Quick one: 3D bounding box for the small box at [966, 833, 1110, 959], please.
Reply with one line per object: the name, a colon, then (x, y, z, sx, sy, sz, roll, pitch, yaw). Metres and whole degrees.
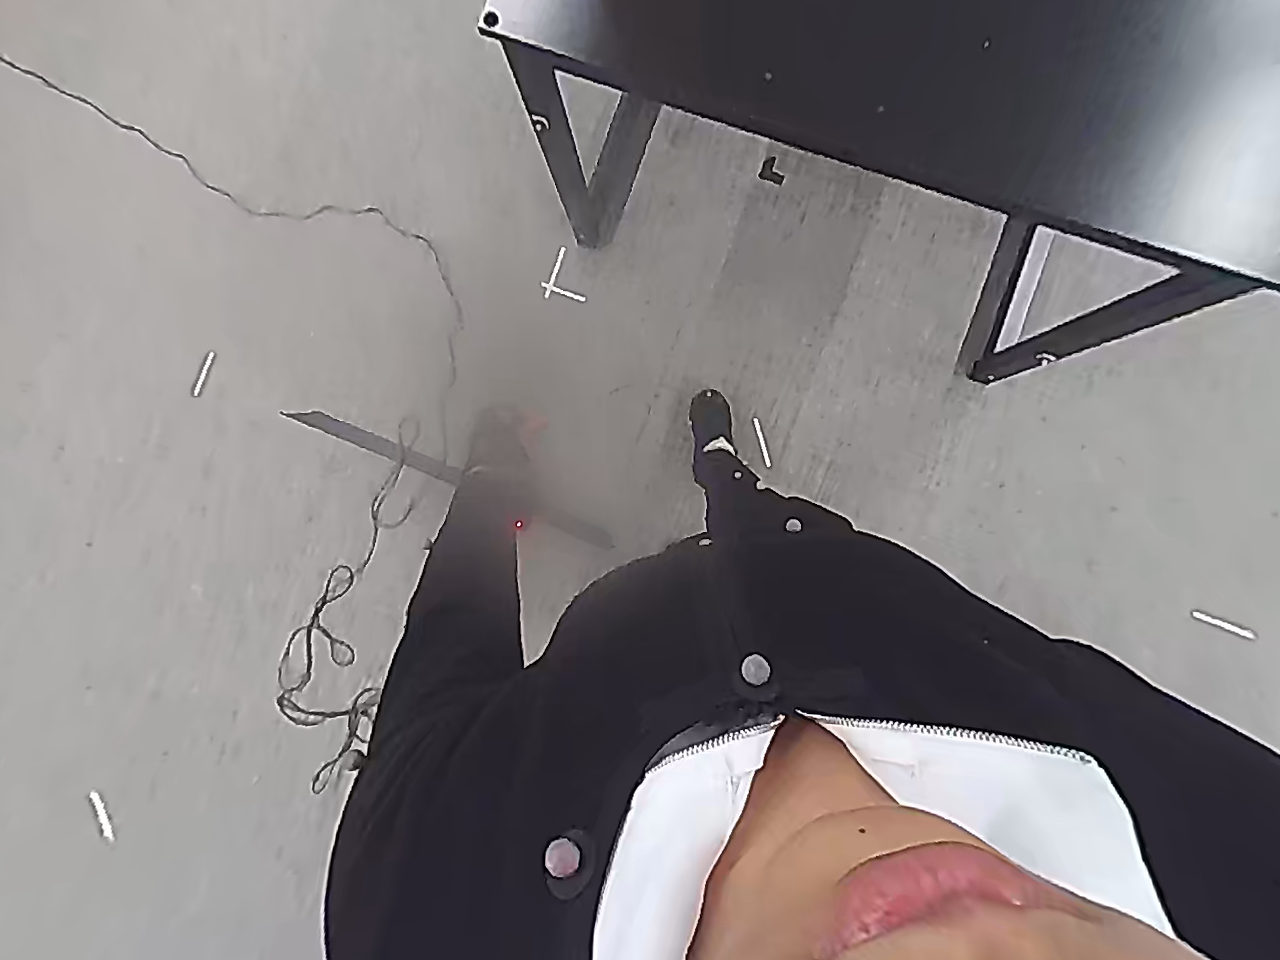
small box: (0.849, 0.925, 1.176, 0.168, 0.176, 0.179, 19, 92, 3)
